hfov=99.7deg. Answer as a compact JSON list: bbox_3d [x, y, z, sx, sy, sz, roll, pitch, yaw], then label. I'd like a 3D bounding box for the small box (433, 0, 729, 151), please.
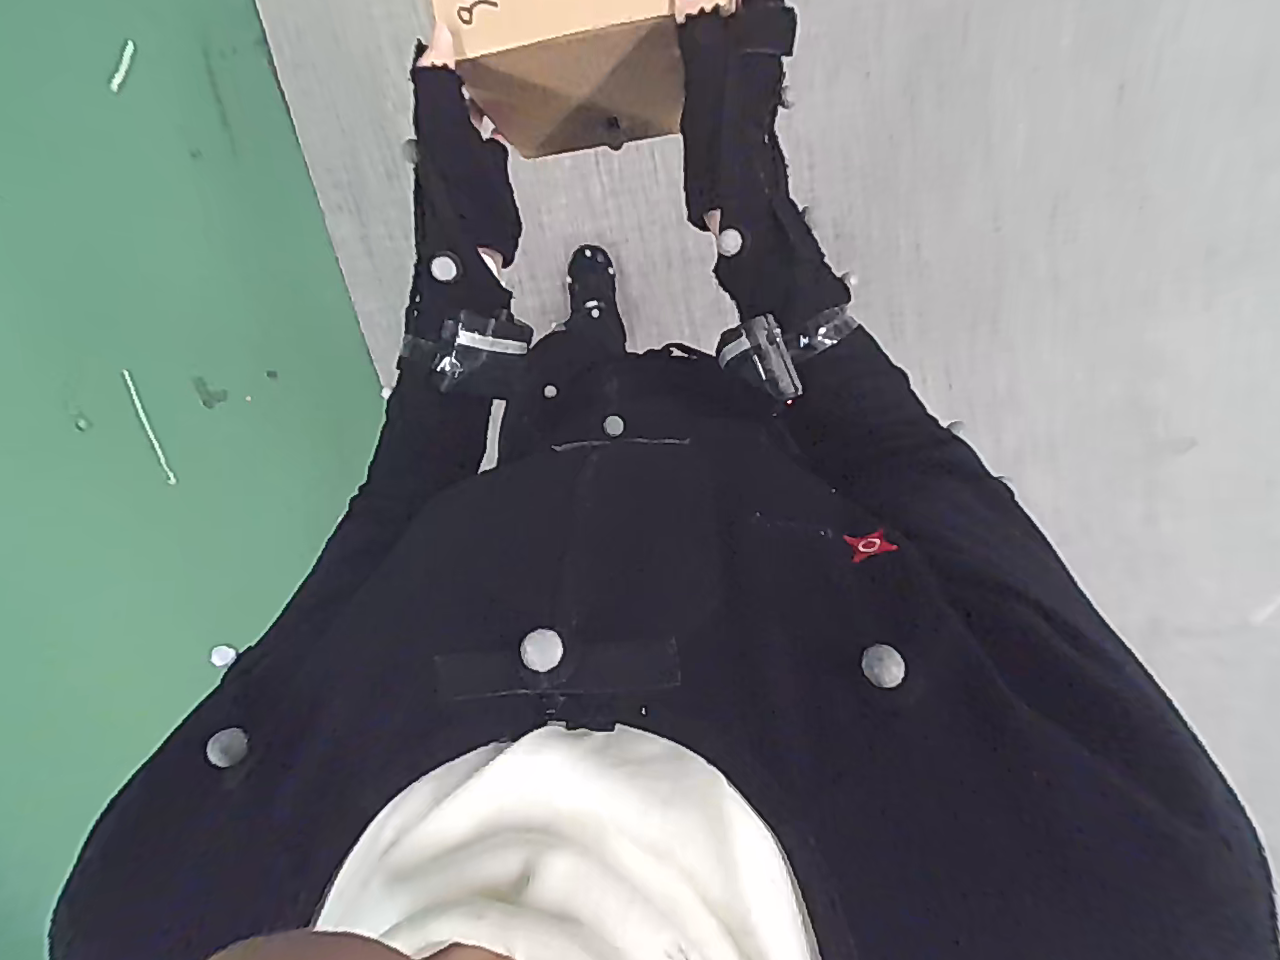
[{"bbox_3d":[-0.039,-0.361,0.379,0.179,0.176,0.168,-6,100,5],"label":"small box"}]
